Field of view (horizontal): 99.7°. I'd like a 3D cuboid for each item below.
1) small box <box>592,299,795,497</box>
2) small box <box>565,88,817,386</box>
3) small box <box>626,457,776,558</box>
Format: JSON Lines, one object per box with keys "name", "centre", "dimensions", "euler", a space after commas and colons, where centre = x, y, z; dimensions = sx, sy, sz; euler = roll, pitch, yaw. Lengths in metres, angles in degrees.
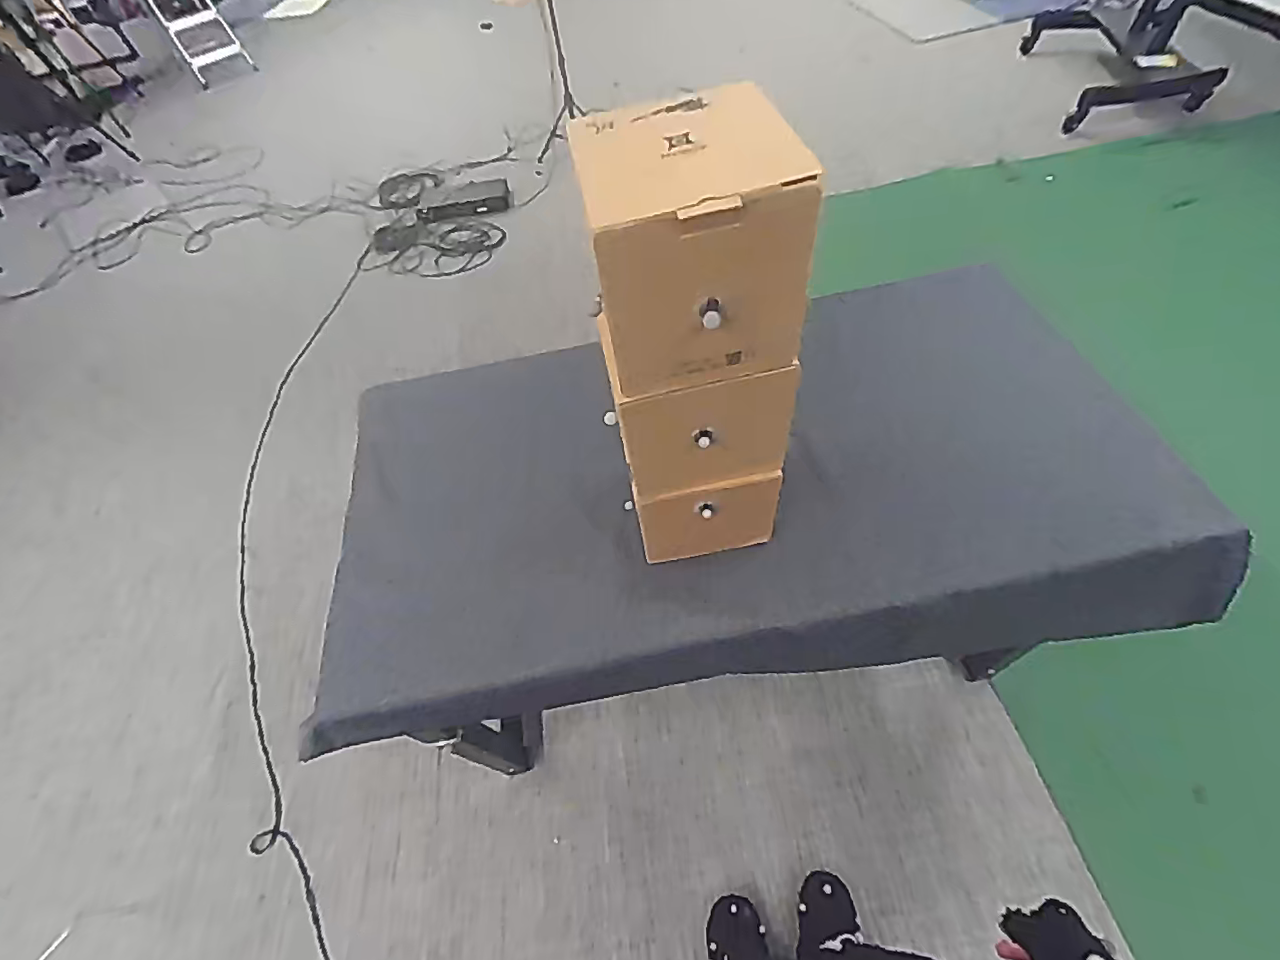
{"name": "small box", "centre": [0.054, -0.103, 0.608], "dimensions": [0.179, 0.176, 0.168], "euler": [-13, 56, 0]}
{"name": "small box", "centre": [0.039, -0.201, 0.479], "dimensions": [0.168, 0.176, 0.179], "euler": [-12, 56, -1]}
{"name": "small box", "centre": [0.071, -0.008, 0.741], "dimensions": [0.179, 0.176, 0.168], "euler": [-10, 56, -1]}
